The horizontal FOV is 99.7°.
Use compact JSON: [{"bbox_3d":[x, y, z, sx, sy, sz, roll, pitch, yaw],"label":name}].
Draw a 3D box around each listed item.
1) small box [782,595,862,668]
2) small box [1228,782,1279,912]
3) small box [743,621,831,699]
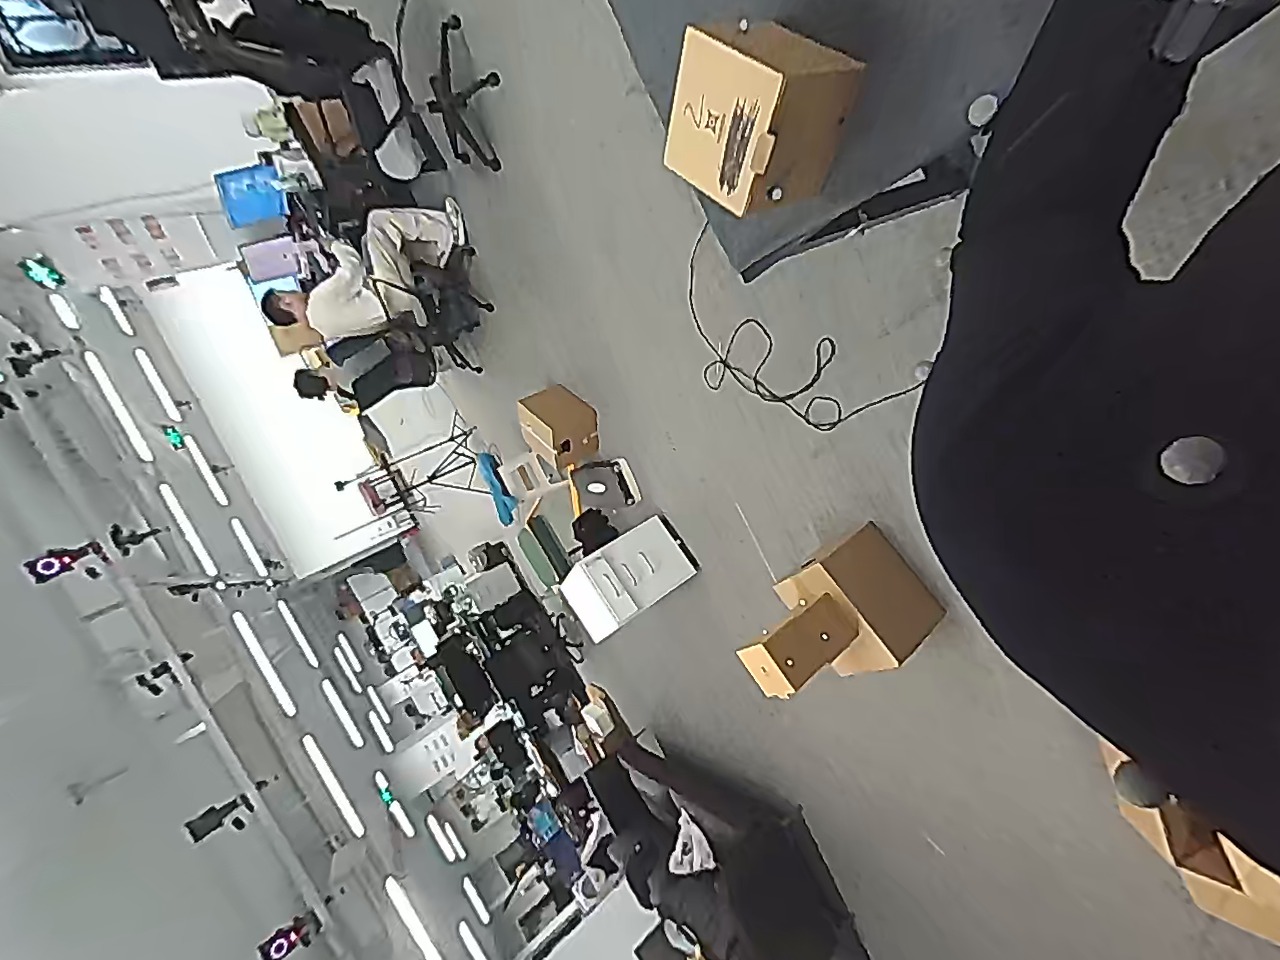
[{"bbox_3d":[0.608,0.519,1.825,0.179,0.176,0.168,55,150,12],"label":"small box"},{"bbox_3d":[1.341,0.754,1.081,0.168,0.176,0.179,-22,96,59],"label":"small box"},{"bbox_3d":[0.476,0.575,1.748,0.179,0.176,0.168,55,149,11],"label":"small box"}]
